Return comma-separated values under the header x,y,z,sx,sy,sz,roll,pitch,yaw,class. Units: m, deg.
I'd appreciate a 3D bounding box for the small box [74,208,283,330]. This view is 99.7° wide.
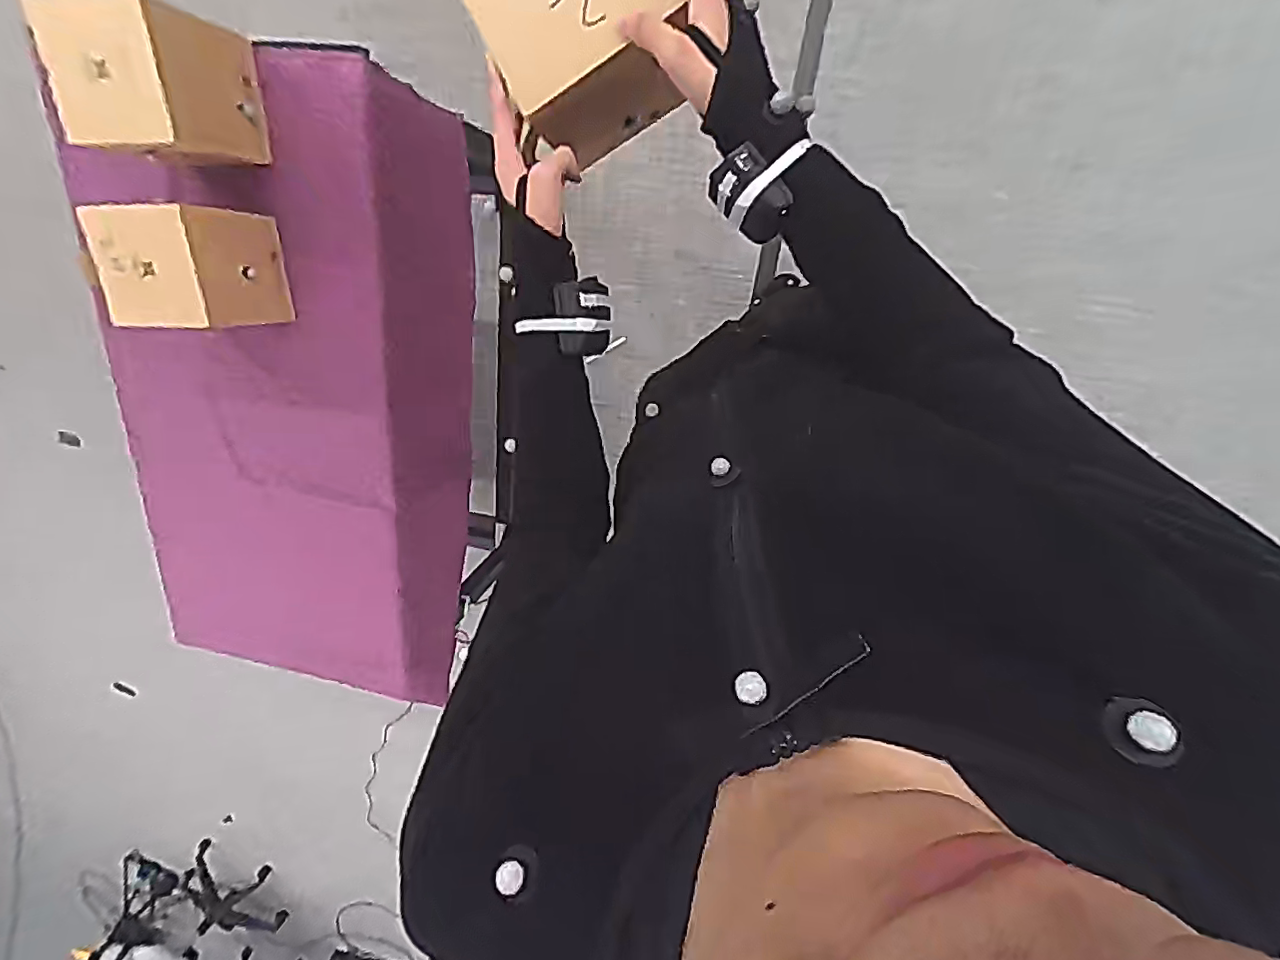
x,y,z,sx,sy,sz,roll,pitch,yaw,class
-0.703,-0.331,0.853,0.179,0.176,0.168,4,111,11,small box

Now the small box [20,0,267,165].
x,y,z,sx,sy,sz,roll,pitch,yaw,class
-0.682,-0.553,0.765,0.179,0.176,0.168,6,113,10,small box
